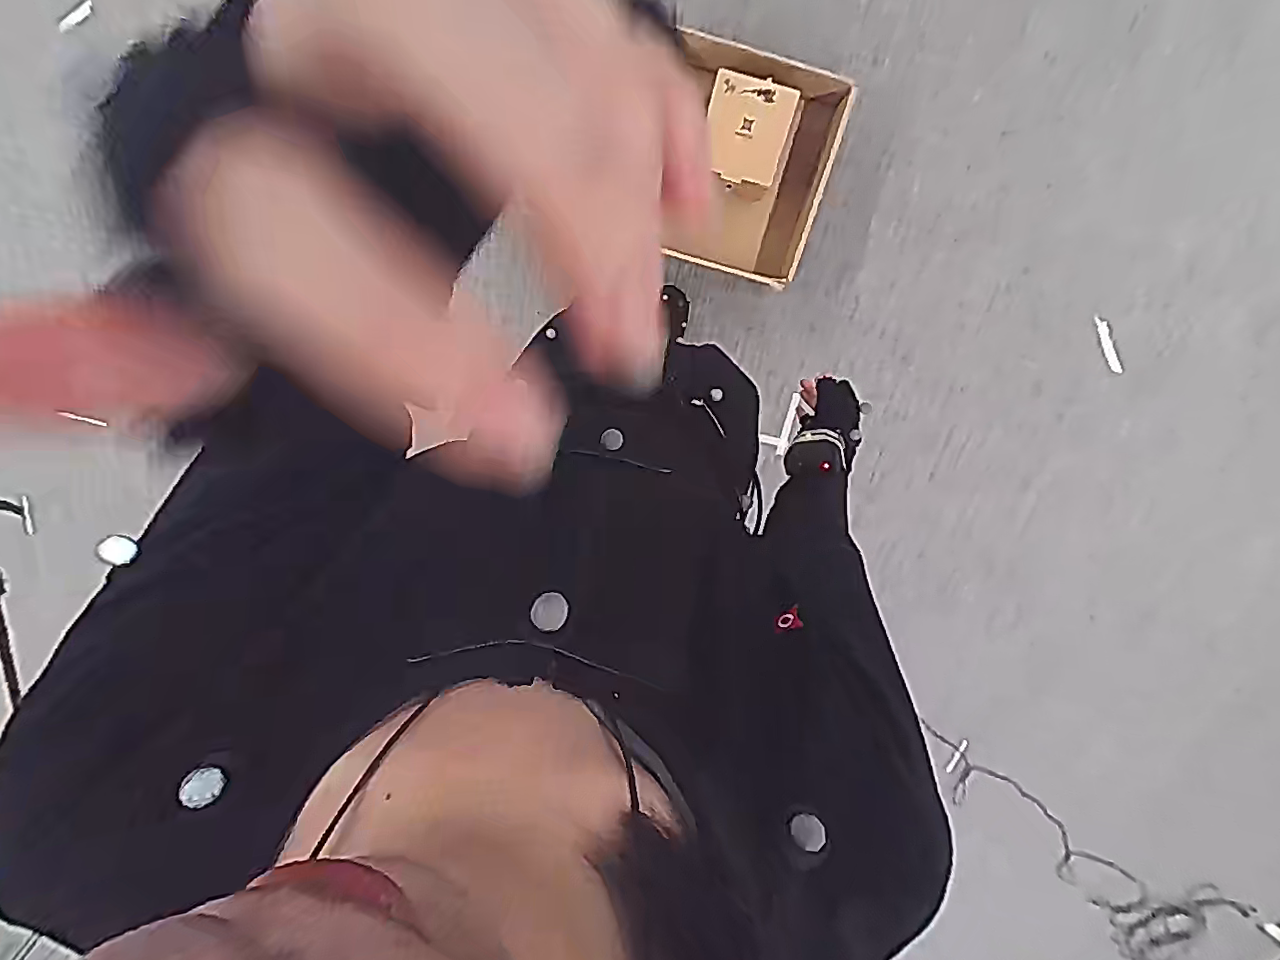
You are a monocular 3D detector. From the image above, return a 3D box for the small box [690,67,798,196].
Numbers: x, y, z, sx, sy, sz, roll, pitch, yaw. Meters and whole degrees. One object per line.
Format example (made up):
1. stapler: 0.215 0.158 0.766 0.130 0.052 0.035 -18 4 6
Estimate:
1. small box: 0.211 -0.717 1.135 0.168 0.176 0.179 16 111 -1
